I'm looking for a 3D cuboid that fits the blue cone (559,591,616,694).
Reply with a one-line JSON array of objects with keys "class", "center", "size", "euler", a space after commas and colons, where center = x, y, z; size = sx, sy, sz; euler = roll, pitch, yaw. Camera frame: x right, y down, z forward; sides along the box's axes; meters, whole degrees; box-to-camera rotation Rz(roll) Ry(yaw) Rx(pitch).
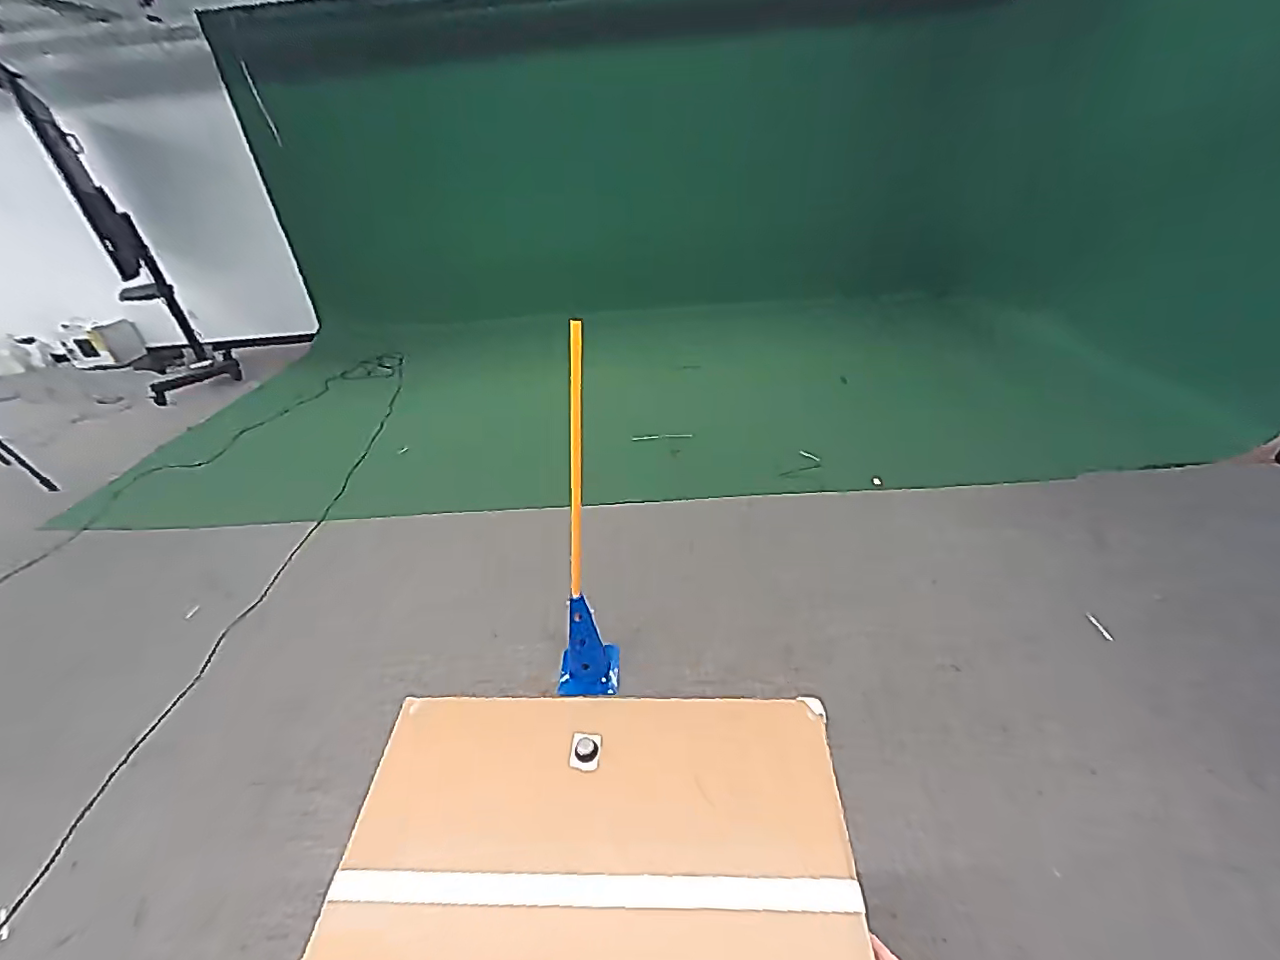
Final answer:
[{"class": "blue cone", "center": [-0.187, 0.501, 1.748], "size": [0.193, 0.380, 0.192], "euler": [-3, 33, 0]}]
